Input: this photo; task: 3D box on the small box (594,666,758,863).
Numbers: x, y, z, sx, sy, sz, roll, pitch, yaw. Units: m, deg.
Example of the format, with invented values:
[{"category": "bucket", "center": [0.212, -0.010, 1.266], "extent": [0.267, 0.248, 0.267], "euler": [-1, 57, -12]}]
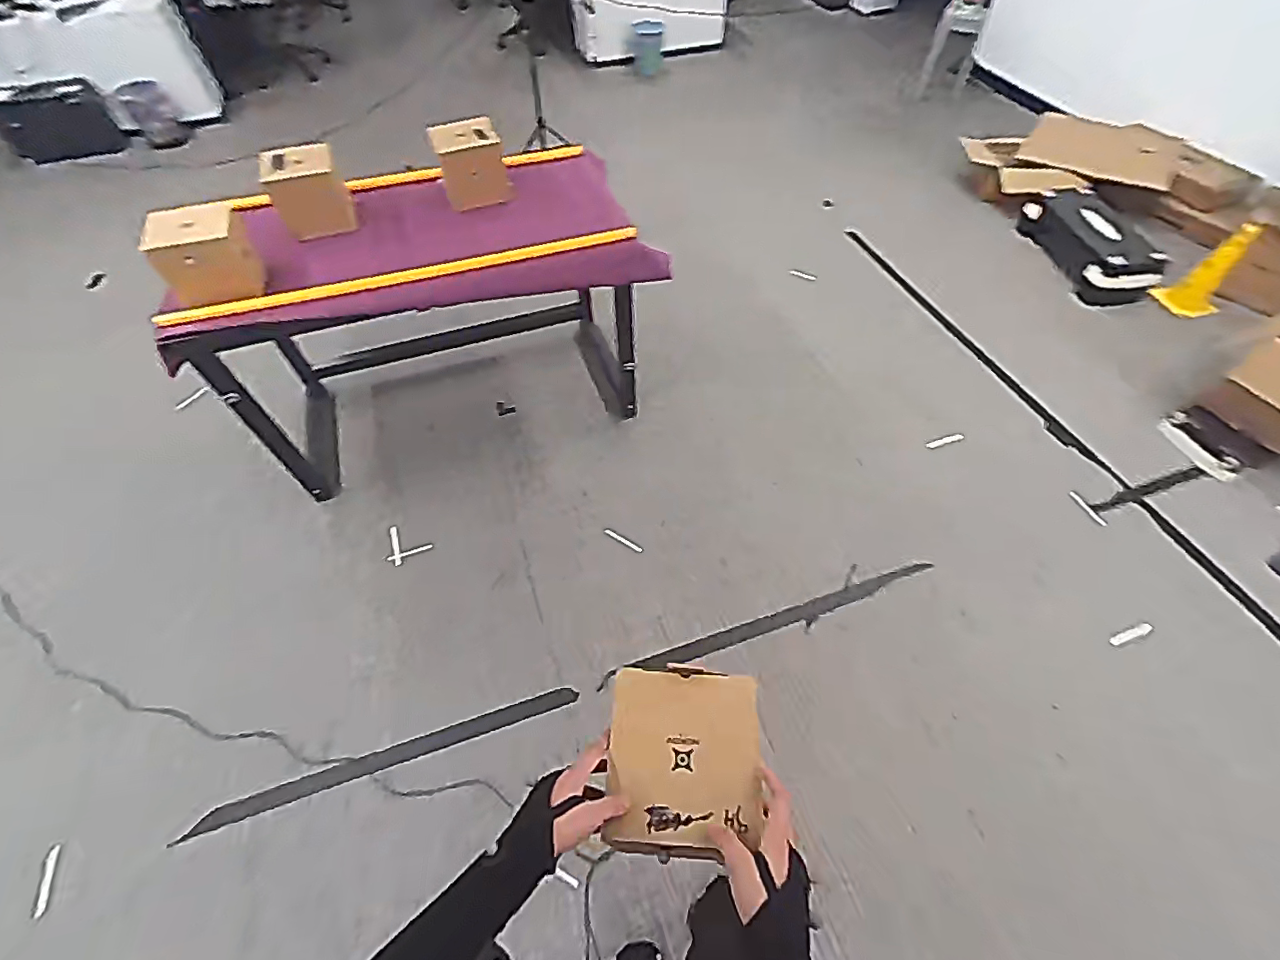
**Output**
[{"category": "small box", "center": [0.043, 0.340, 0.645], "extent": [0.168, 0.176, 0.179], "euler": [1, 52, 4]}]

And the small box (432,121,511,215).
[{"category": "small box", "center": [-0.488, -0.915, 1.591], "extent": [0.179, 0.176, 0.168], "euler": [-19, 58, -11]}]

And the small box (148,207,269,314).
[{"category": "small box", "center": [-1.051, -0.538, 1.336], "extent": [0.179, 0.176, 0.168], "euler": [-17, 56, -12]}]
